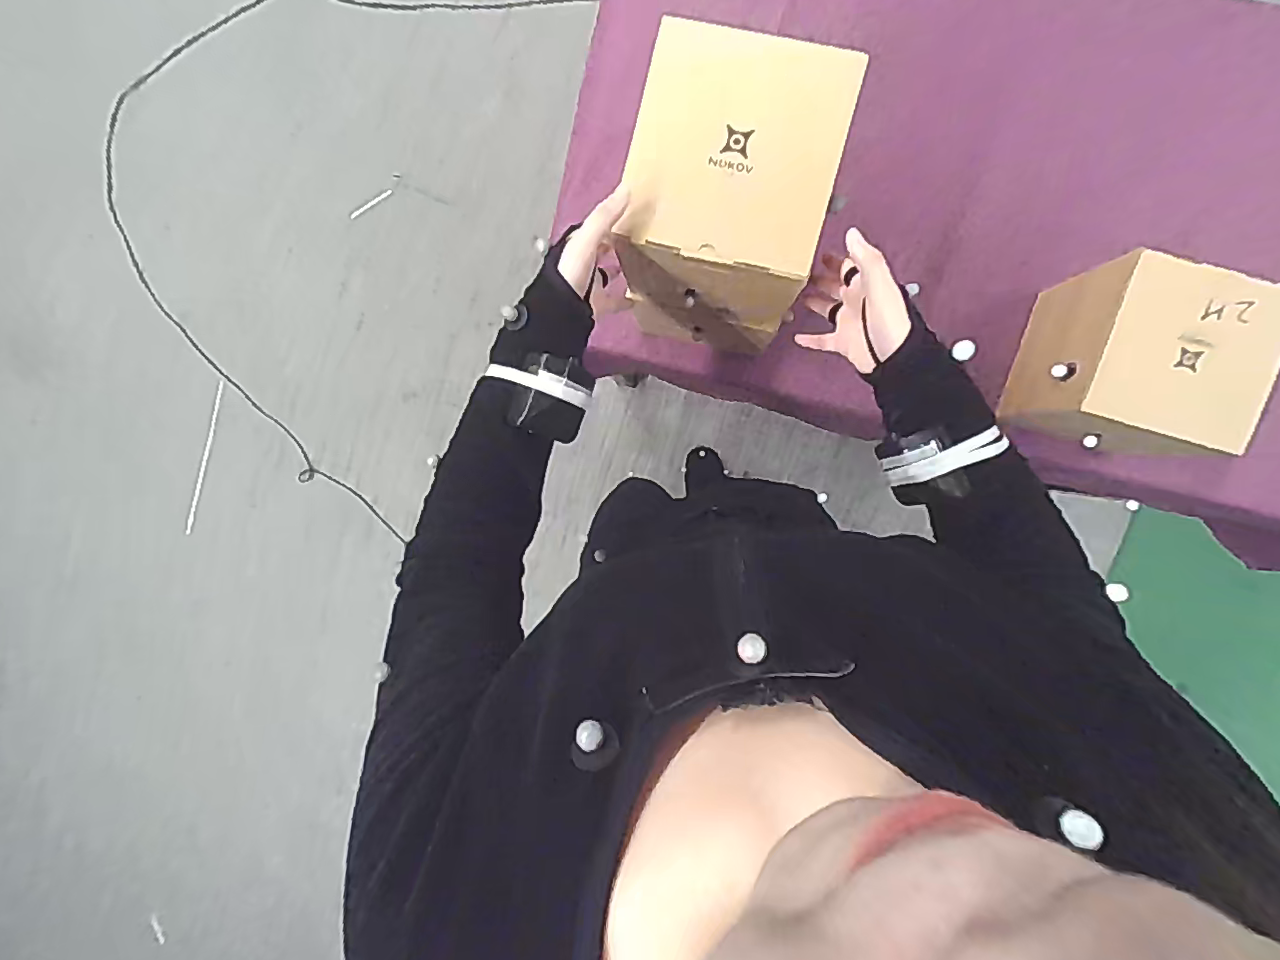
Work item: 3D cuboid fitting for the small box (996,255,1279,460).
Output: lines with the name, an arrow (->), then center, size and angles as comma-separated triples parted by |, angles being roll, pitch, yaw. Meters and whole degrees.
small box -> 0.565, -0.131, 0.638 | 0.168, 0.176, 0.179 | 18, 95, 3

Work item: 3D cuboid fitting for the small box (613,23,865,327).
small box -> 0.082, -0.263, 0.509 | 0.168, 0.176, 0.179 | 15, 95, 4
